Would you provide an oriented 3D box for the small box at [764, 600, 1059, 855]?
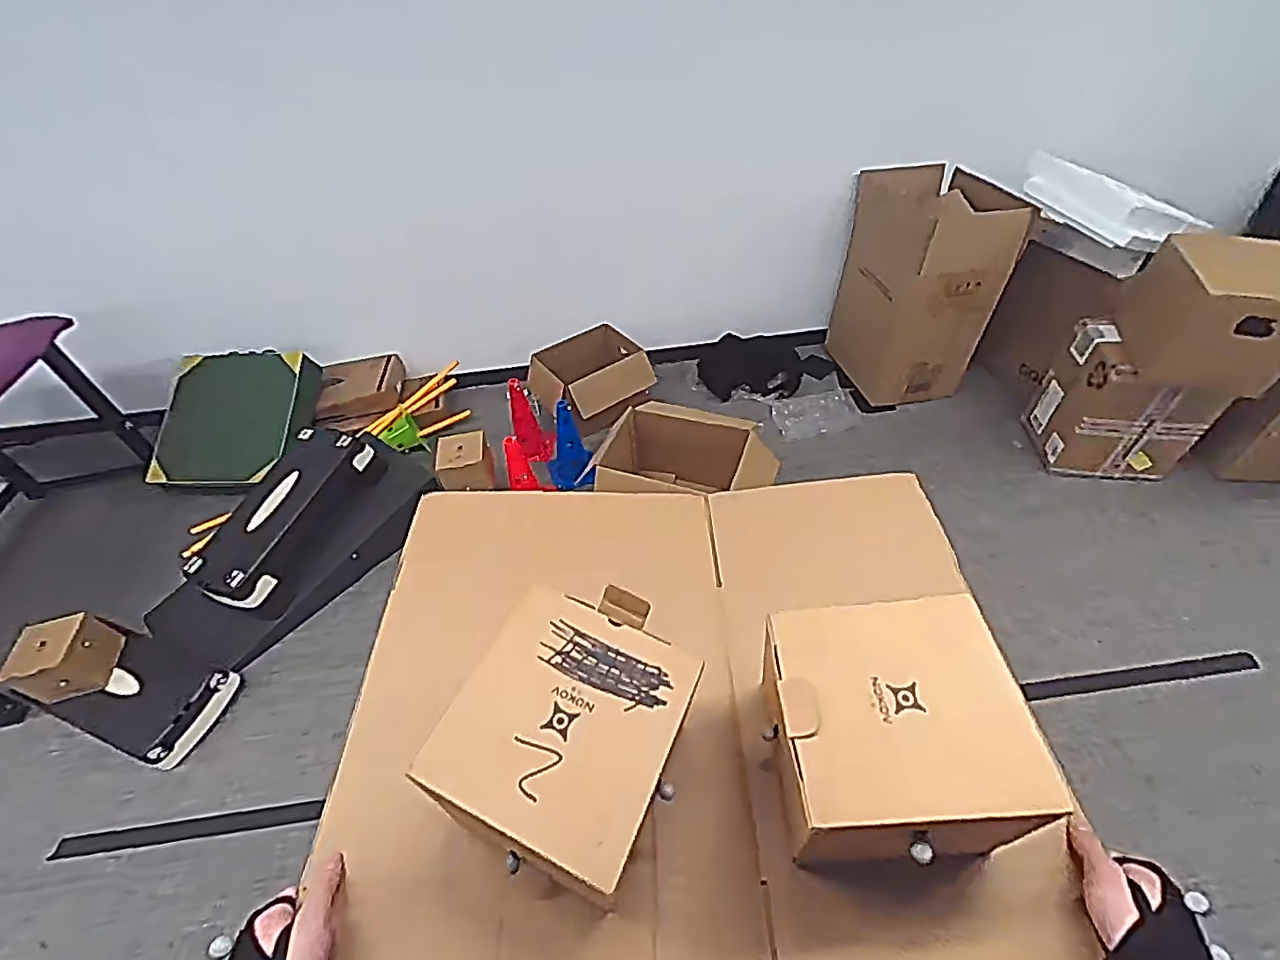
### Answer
[{"bbox_3d":[0.214,0.229,0.491,0.179,0.176,0.168,-8,48,5],"label":"small box"}]
